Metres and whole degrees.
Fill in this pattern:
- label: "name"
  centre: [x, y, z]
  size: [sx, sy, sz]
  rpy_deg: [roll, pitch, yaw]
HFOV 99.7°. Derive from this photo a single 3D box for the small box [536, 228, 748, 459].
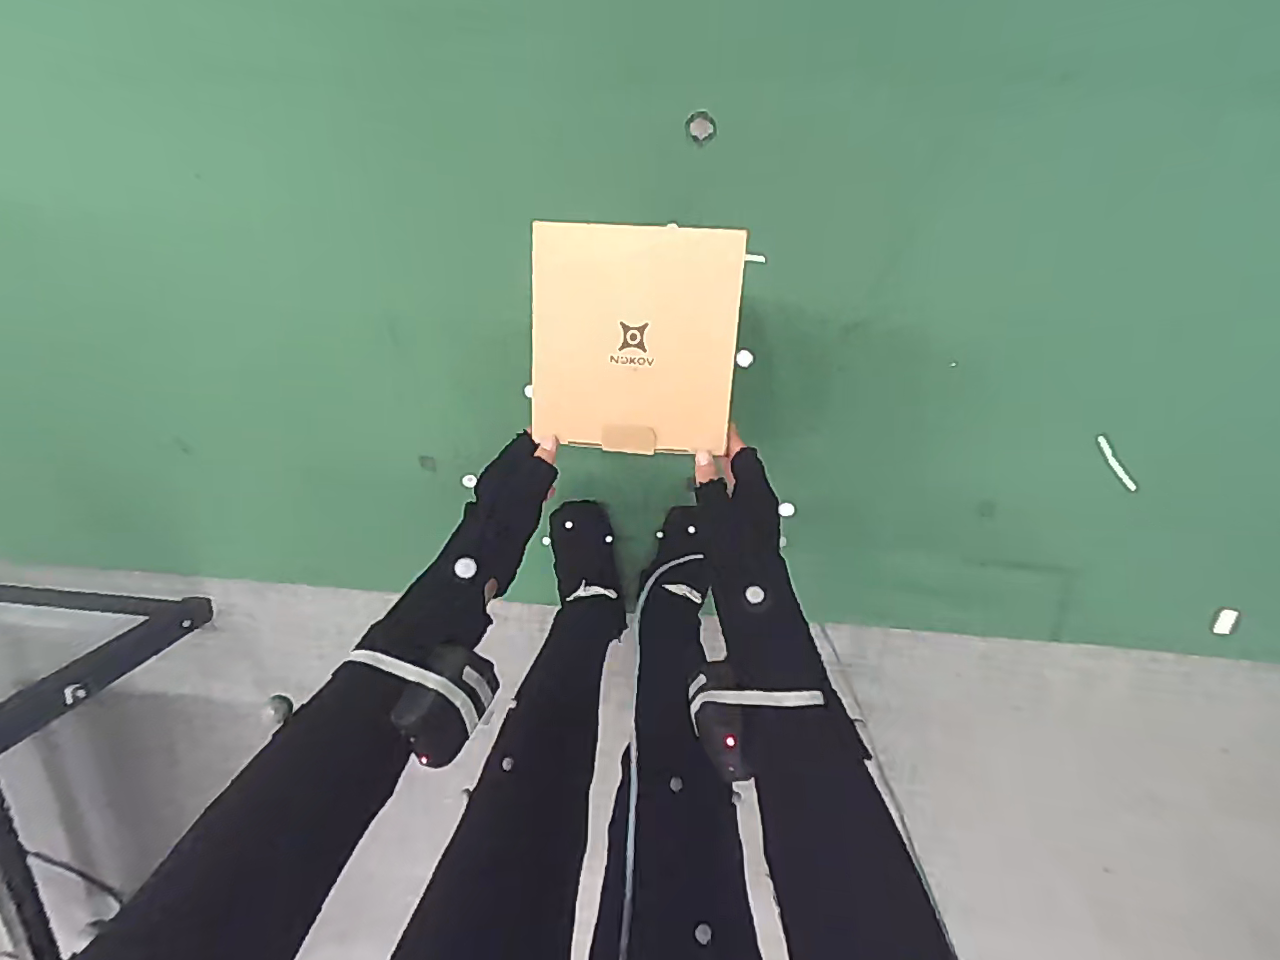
- label: "small box"
  centre: [0.003, -0.127, 0.517]
  size: [0.168, 0.176, 0.179]
  rpy_deg: [5, 105, 4]
